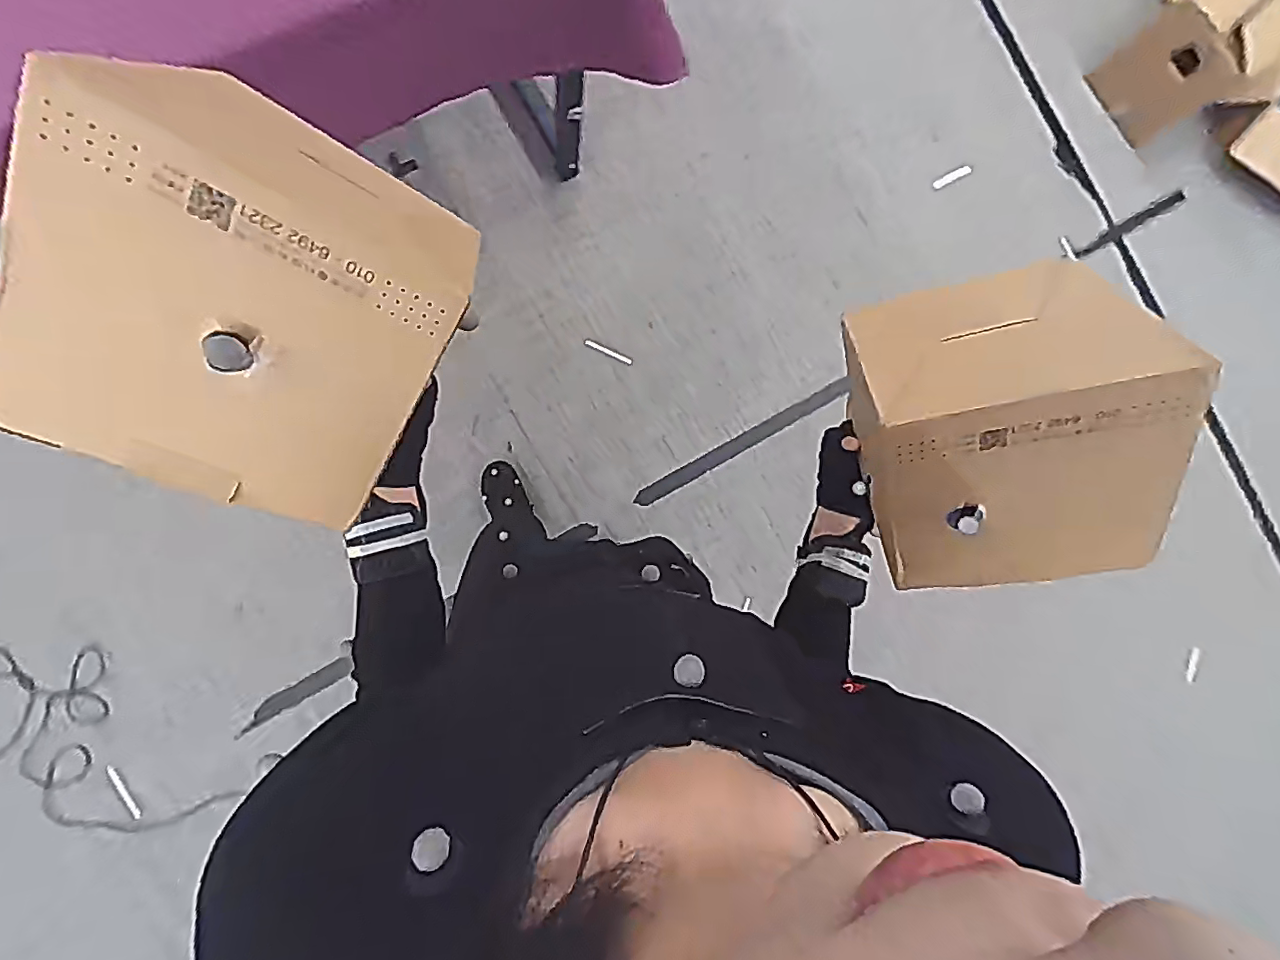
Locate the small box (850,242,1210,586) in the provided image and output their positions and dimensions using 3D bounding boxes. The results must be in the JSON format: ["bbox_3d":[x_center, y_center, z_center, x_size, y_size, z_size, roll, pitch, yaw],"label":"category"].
[{"bbox_3d":[0.258,-0.048,0.400,0.168,0.179,0.176,-9,129,17],"label":"small box"}]

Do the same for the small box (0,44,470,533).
[{"bbox_3d":[-0.210,-0.105,0.309,0.168,0.179,0.176,25,113,-28],"label":"small box"}]
